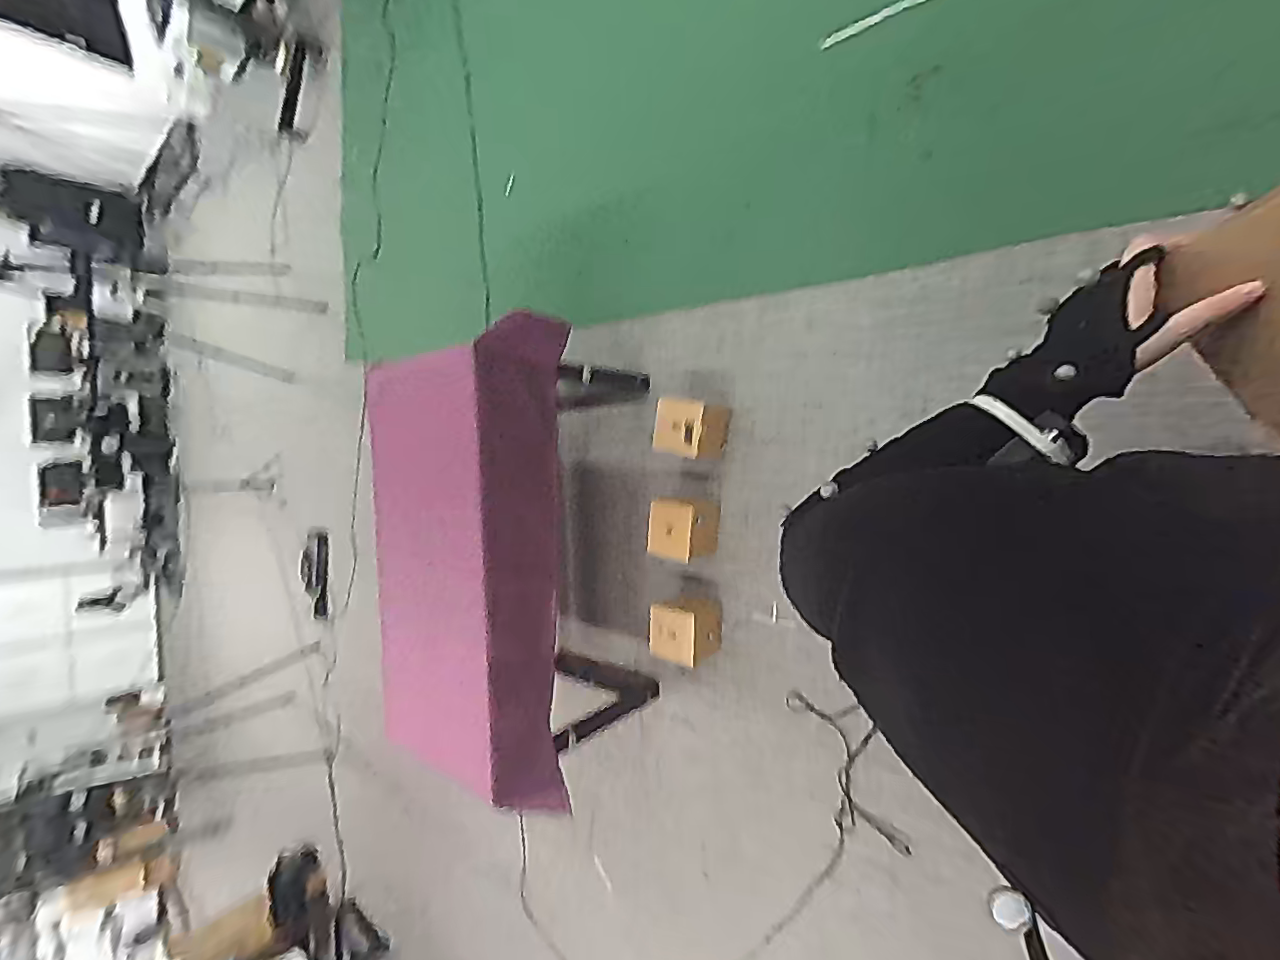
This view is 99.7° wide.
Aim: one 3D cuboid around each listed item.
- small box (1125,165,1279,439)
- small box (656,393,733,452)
[{"bbox_3d":[0.504,-0.156,0.360,0.168,0.176,0.179,60,157,9],"label":"small box"},{"bbox_3d":[0.178,-0.185,1.737,0.179,0.176,0.168,15,103,43],"label":"small box"}]
